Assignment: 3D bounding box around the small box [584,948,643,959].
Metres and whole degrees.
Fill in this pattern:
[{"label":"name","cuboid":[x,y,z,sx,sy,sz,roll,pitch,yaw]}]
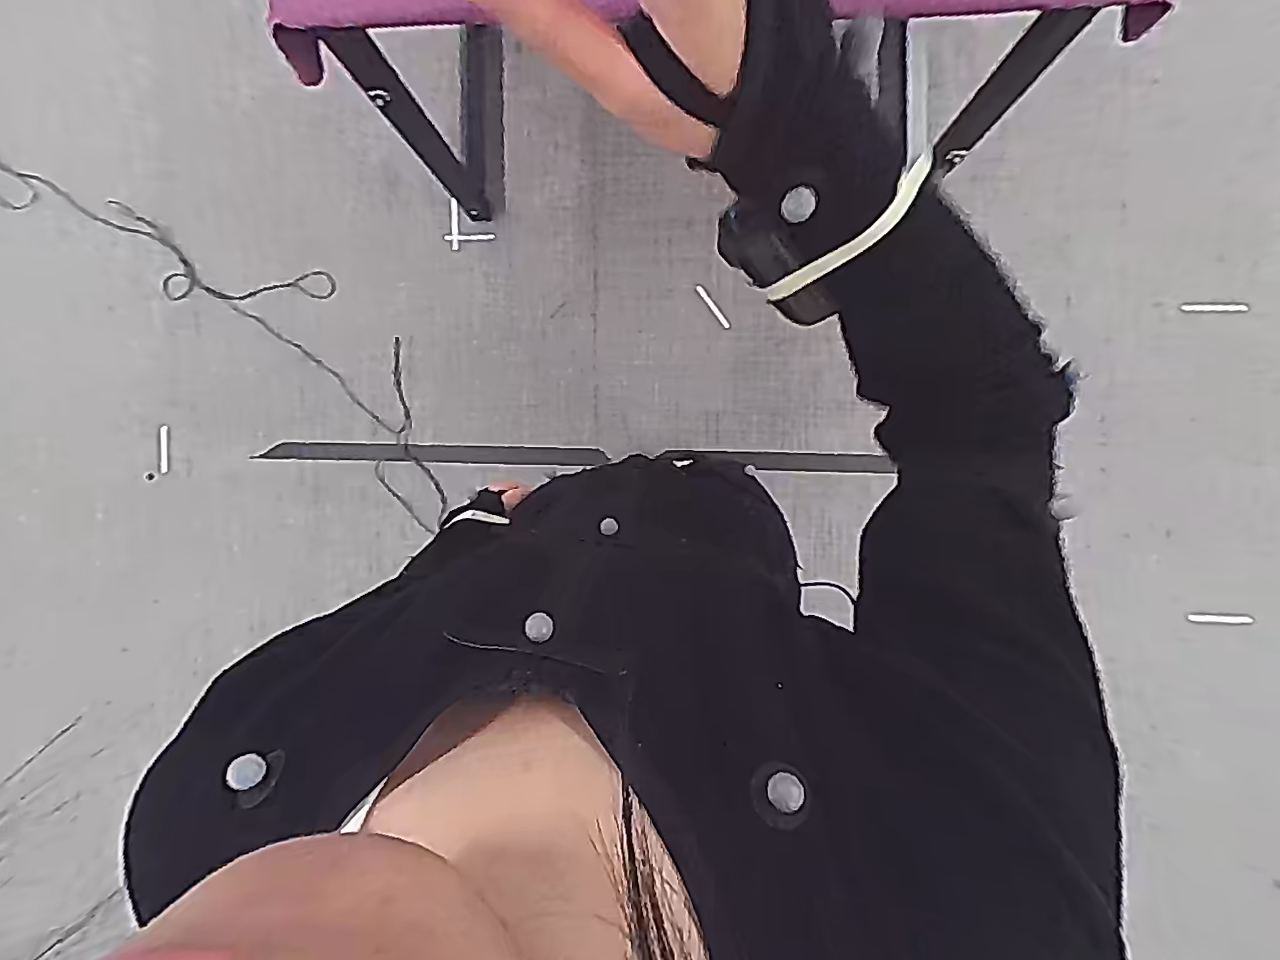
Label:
[{"label":"small box","cuboid":[-0.068,1.393,1.423,0.168,0.176,0.179,-8,91,3]}]
